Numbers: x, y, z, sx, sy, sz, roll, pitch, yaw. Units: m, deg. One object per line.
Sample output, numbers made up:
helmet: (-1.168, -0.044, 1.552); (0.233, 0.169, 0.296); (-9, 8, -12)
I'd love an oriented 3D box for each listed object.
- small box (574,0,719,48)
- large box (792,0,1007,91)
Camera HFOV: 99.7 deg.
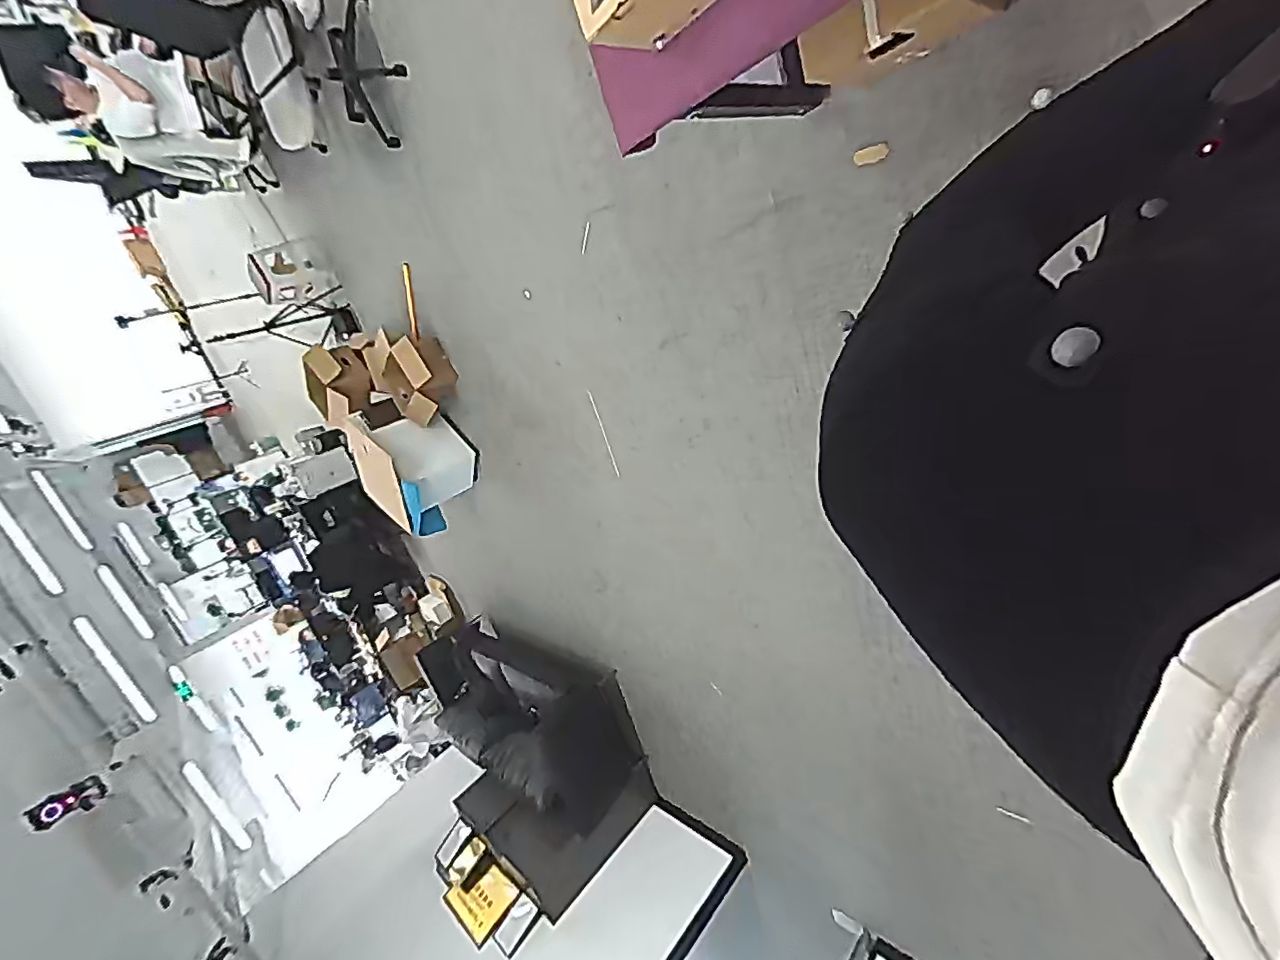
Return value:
small box: (0.004, -0.782, 0.804); (0.168, 0.176, 0.179); (0, 113, 48)
large box: (0.515, -1.100, 1.109); (0.320, 0.320, 0.408); (1, 115, 47)
